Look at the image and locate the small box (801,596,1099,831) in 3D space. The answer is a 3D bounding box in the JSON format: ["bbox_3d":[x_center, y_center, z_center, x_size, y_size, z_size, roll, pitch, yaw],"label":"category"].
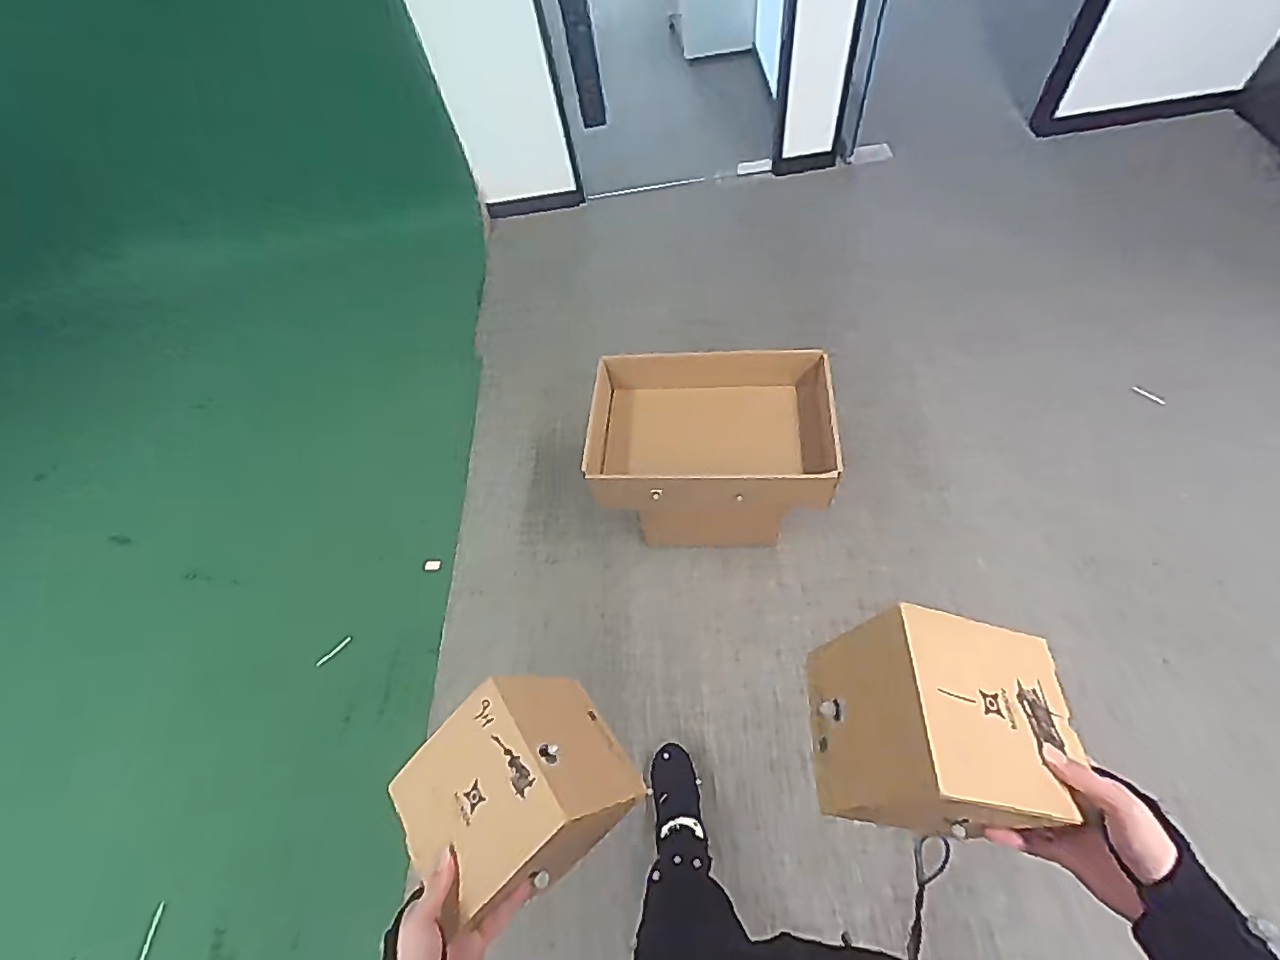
[{"bbox_3d":[0.286,0.242,0.543,0.179,0.176,0.168,16,51,-10],"label":"small box"}]

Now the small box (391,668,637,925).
[{"bbox_3d":[-0.136,0.337,0.609,0.179,0.176,0.168,-47,56,6],"label":"small box"}]
